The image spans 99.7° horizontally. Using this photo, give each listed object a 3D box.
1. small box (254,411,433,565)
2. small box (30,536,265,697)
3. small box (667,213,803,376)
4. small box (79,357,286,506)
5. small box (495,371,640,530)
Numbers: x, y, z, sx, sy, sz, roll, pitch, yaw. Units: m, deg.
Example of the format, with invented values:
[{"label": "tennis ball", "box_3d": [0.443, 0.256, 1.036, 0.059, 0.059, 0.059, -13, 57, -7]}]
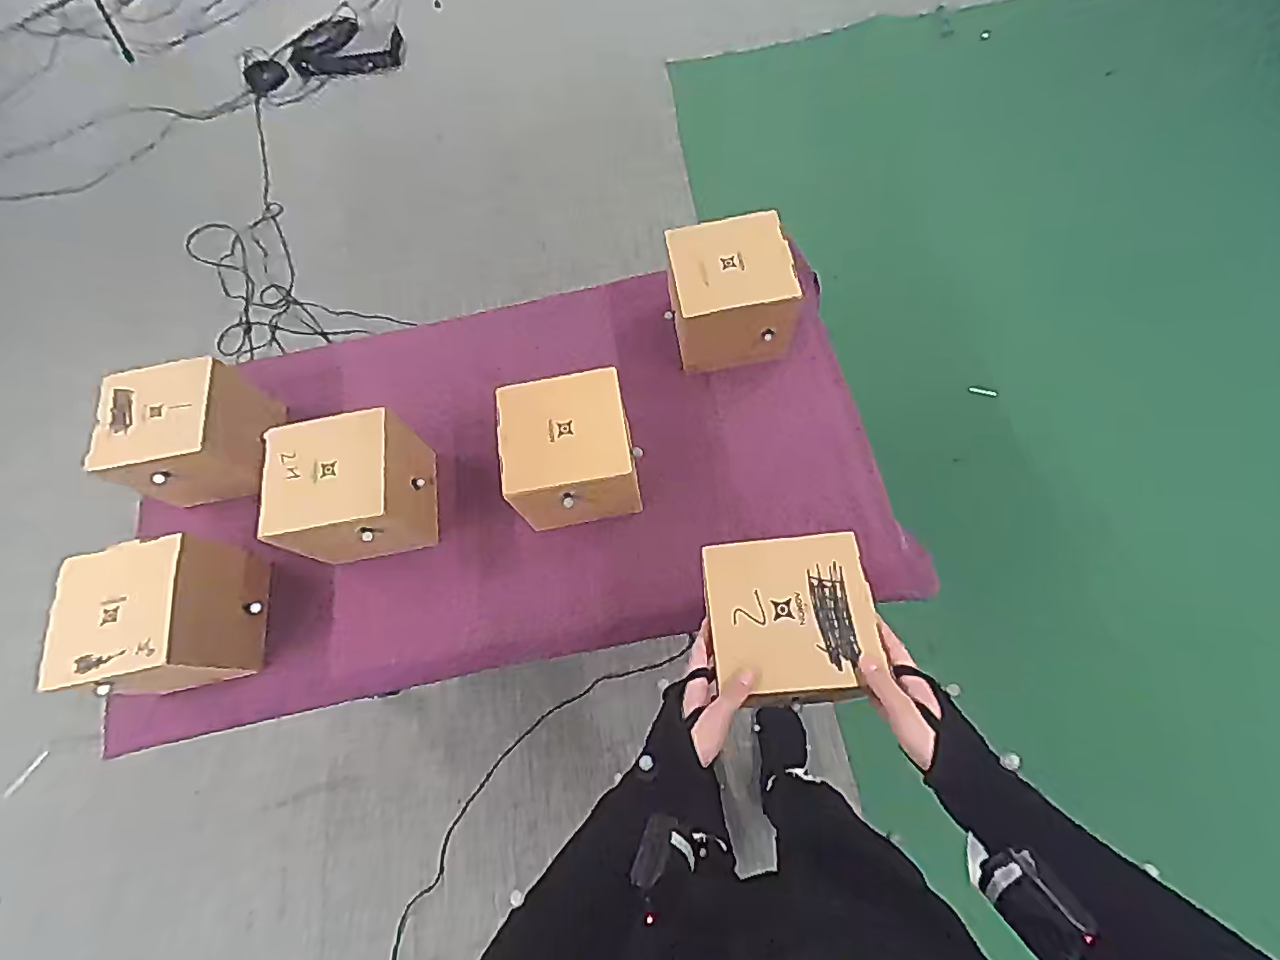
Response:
[{"label": "small box", "box_3d": [-0.423, 0.019, 0.805, 0.179, 0.176, 0.168, -10, 68, 1]}, {"label": "small box", "box_3d": [-0.666, 0.198, 0.759, 0.168, 0.176, 0.179, -13, 67, 1]}, {"label": "small box", "box_3d": [0.142, -0.288, 0.866, 0.179, 0.176, 0.168, -10, 70, 3]}, {"label": "small box", "box_3d": [-0.714, -0.068, 0.865, 0.179, 0.176, 0.168, -10, 69, 0]}, {"label": "small box", "box_3d": [-0.098, -0.035, 0.797, 0.179, 0.176, 0.168, -11, 69, 2]}]
